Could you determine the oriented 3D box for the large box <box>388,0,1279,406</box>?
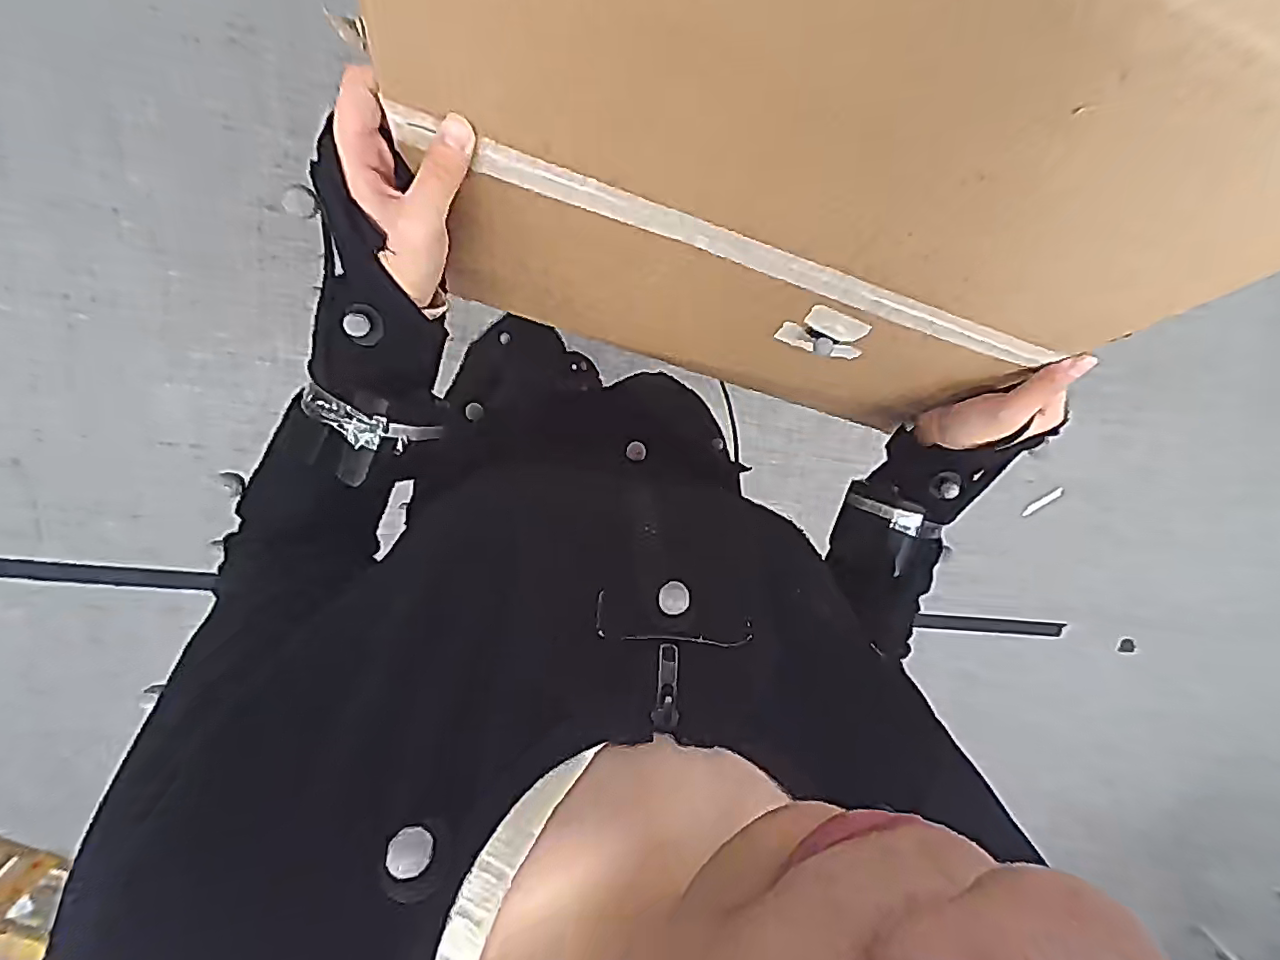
[{"bbox_3d":[0.108,-0.281,0.314,0.408,0.320,0.320,14,76,-11],"label":"large box"}]
